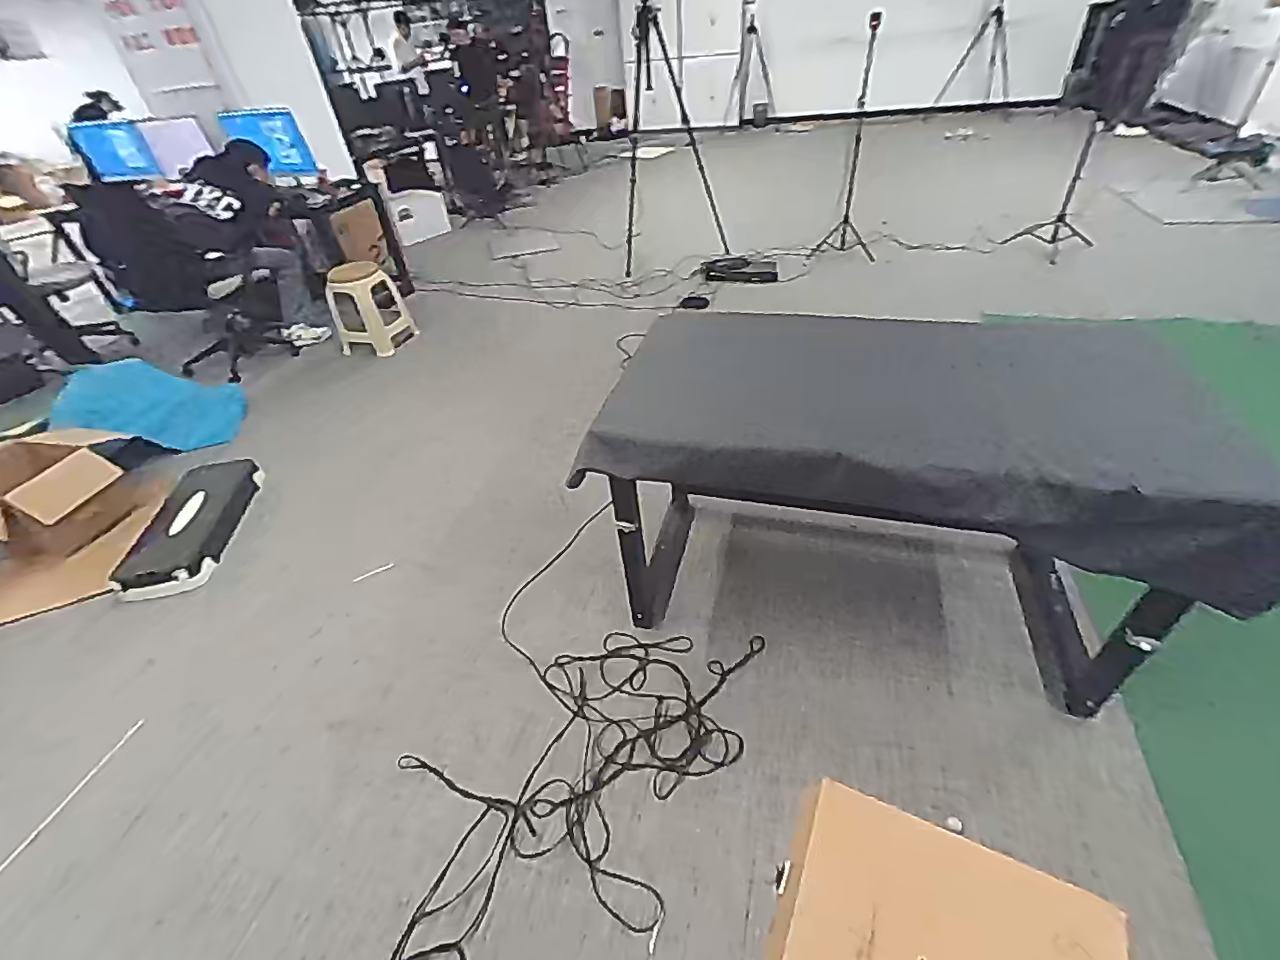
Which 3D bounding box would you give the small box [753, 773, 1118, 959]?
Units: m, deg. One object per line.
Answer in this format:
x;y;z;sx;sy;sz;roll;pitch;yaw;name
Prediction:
0.182;0.329;0.374;0.179;0.176;0.168;14;60;20;small box
